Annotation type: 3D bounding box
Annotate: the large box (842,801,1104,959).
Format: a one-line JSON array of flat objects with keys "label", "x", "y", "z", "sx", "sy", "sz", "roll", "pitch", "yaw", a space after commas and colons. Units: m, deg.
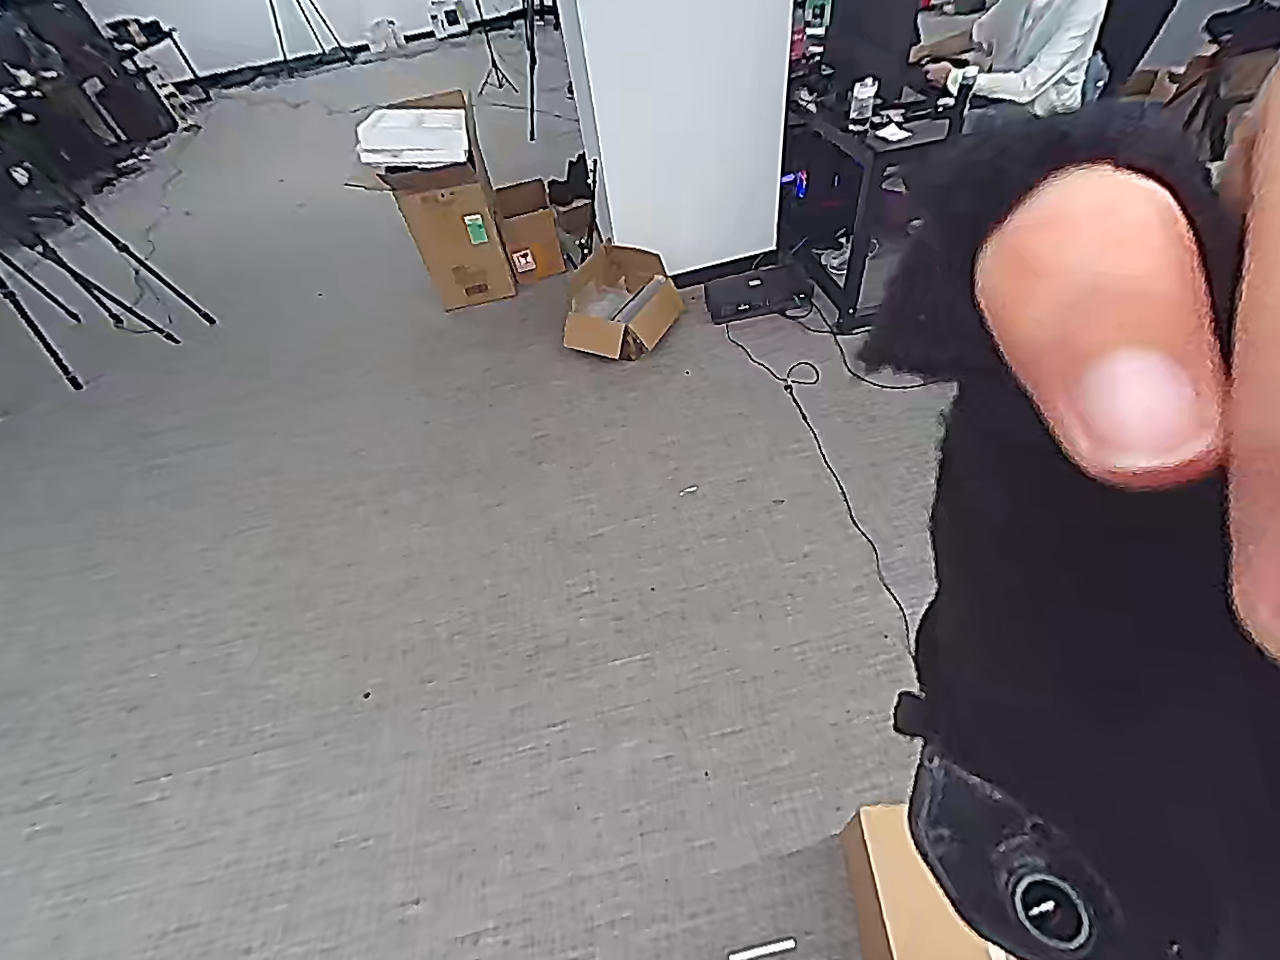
[{"label": "large box", "x": 0.590, "y": 0.840, "z": 0.977, "sx": 0.320, "sy": 0.320, "sz": 0.408, "roll": -6, "pitch": 50, "yaw": 7}]
